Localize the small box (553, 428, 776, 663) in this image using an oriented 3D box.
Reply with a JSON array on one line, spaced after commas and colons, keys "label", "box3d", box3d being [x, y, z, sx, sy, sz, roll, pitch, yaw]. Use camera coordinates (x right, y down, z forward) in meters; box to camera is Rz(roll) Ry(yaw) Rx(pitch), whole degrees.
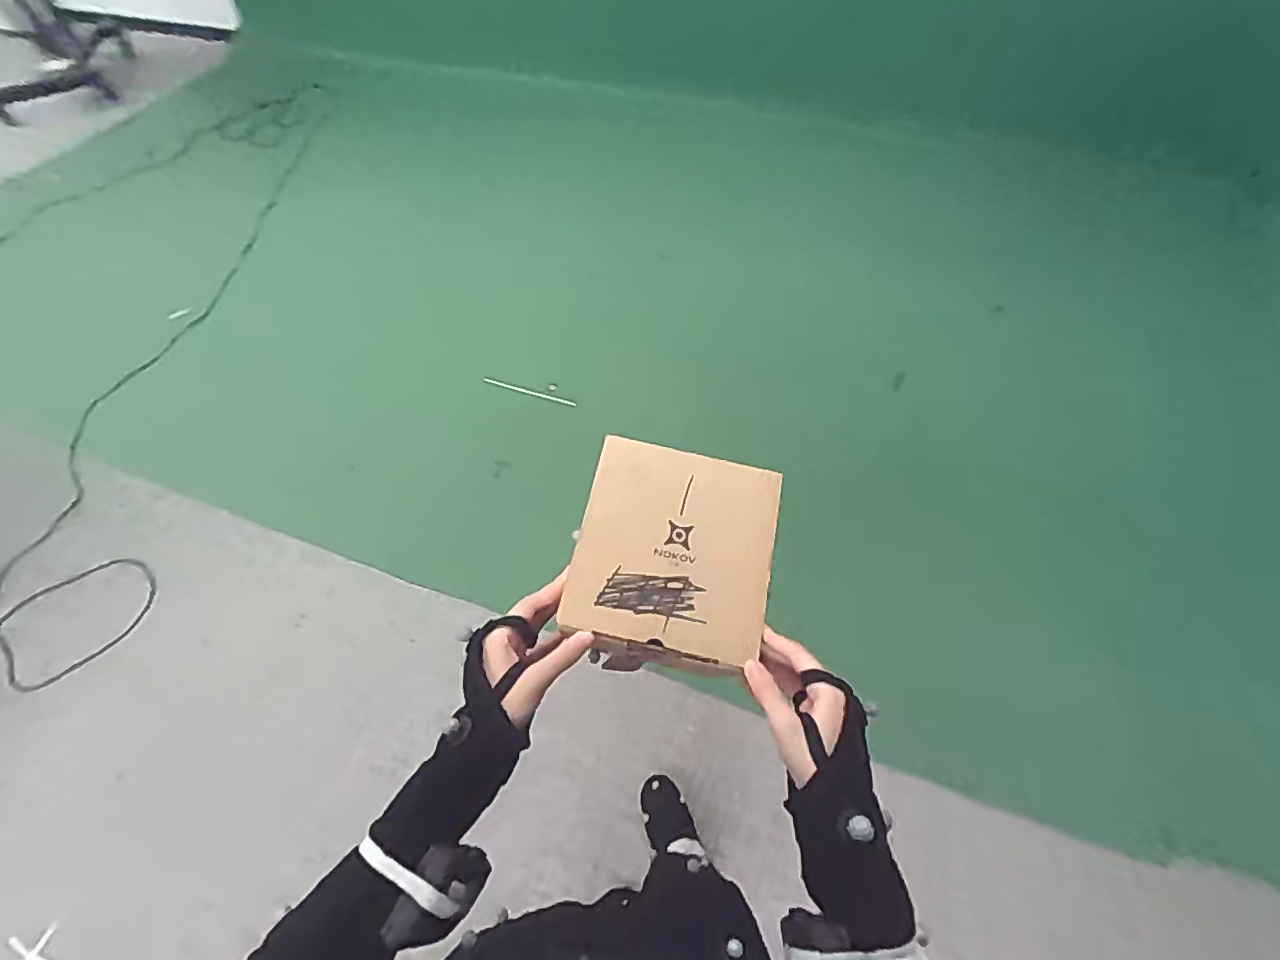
[{"label": "small box", "box3d": [0.024, 0.076, 0.534, 0.168, 0.176, 0.179, 12, 68, 2]}]
